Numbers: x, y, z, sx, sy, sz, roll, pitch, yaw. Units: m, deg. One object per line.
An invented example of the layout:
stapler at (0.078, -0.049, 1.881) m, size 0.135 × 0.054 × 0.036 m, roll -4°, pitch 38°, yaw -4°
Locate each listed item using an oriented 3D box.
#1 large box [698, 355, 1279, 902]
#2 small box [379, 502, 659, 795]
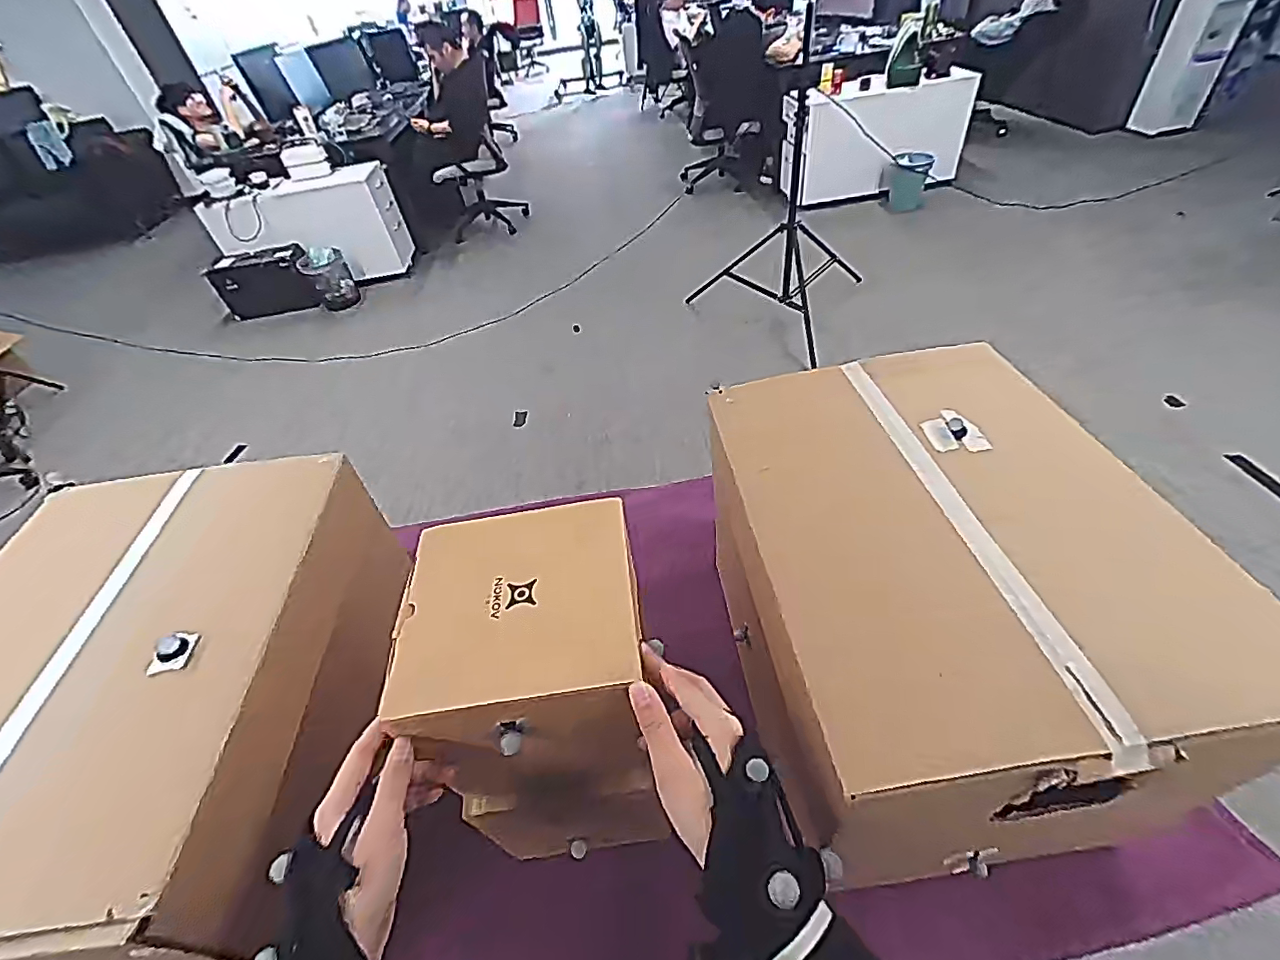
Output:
large box at (0.259, 0.130, 0.551) m, size 0.320 × 0.320 × 0.408 m, roll -10°, pitch 43°, yaw 0°
small box at (-0.081, 0.145, 0.460) m, size 0.179 × 0.176 × 0.168 m, roll -10°, pitch 44°, yaw 2°
